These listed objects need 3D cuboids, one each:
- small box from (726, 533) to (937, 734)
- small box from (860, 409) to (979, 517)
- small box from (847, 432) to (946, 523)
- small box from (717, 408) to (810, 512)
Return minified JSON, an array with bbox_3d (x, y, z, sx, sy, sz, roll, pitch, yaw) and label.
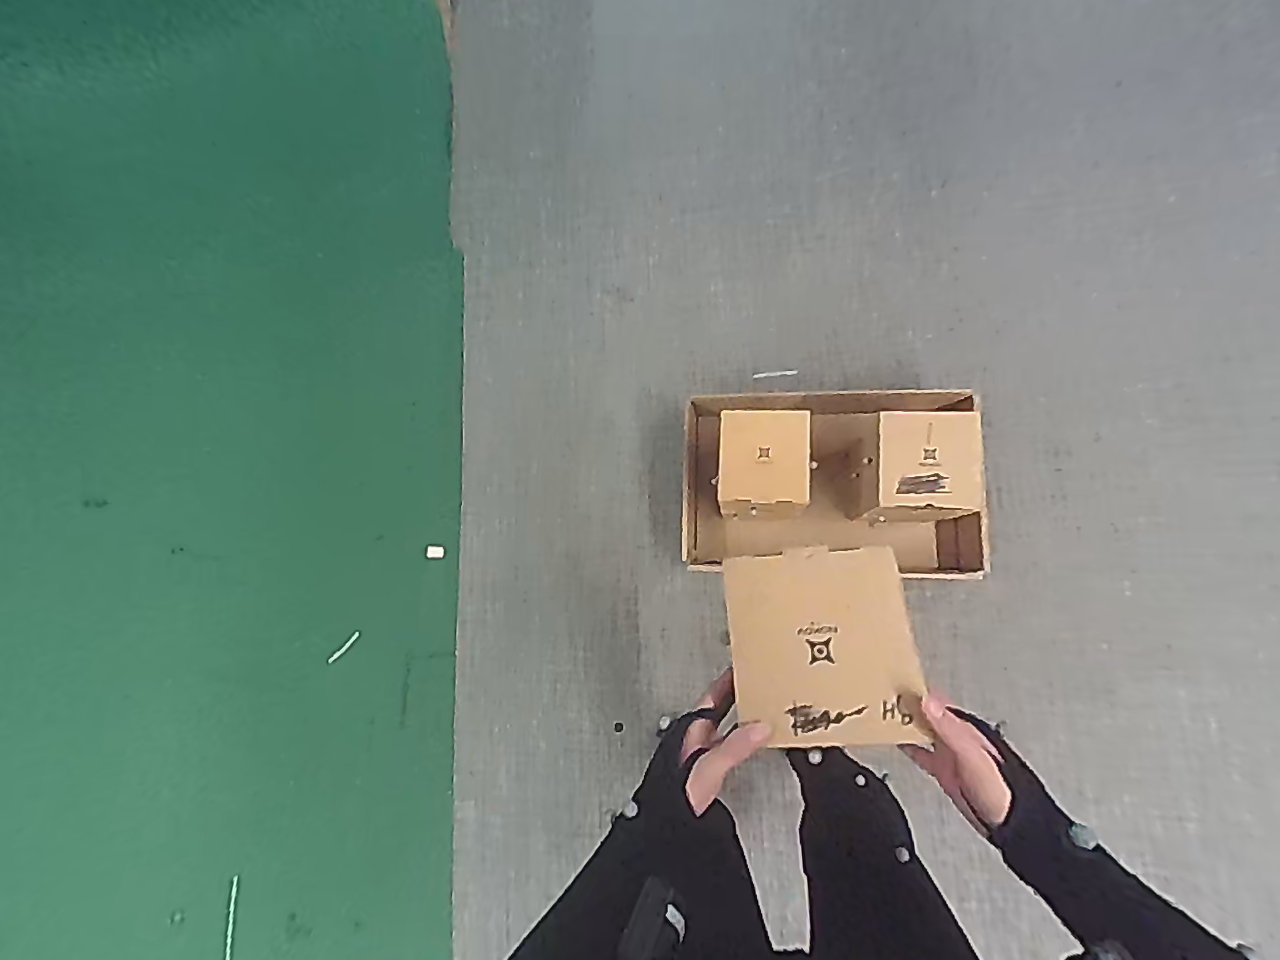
[{"bbox_3d":[0.180,0.169,0.570,0.168,0.176,0.179,-6,65,8],"label":"small box"},{"bbox_3d":[0.519,-0.026,1.020,0.168,0.176,0.179,3,81,12],"label":"small box"},{"bbox_3d":[0.551,-0.002,1.179,0.168,0.176,0.179,1,82,12],"label":"small box"},{"bbox_3d":[0.241,-0.035,1.075,0.168,0.176,0.179,2,81,10],"label":"small box"}]
